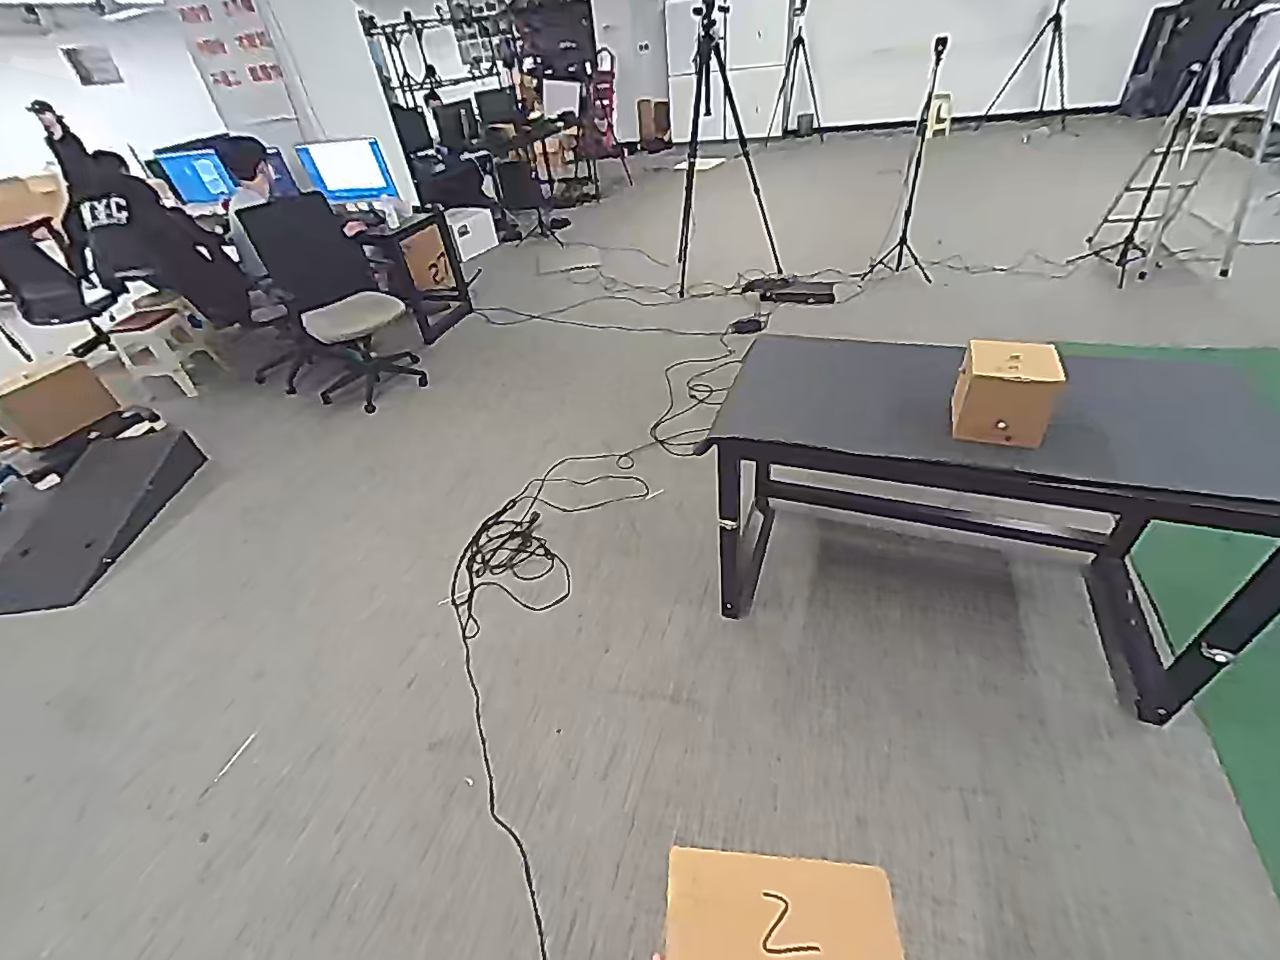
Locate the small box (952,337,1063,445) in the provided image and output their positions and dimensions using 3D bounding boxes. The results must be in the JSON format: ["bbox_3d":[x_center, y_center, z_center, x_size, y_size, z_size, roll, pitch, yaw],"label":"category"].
[{"bbox_3d":[0.813,-0.203,1.215,0.168,0.176,0.179,10,42,22],"label":"small box"}]
